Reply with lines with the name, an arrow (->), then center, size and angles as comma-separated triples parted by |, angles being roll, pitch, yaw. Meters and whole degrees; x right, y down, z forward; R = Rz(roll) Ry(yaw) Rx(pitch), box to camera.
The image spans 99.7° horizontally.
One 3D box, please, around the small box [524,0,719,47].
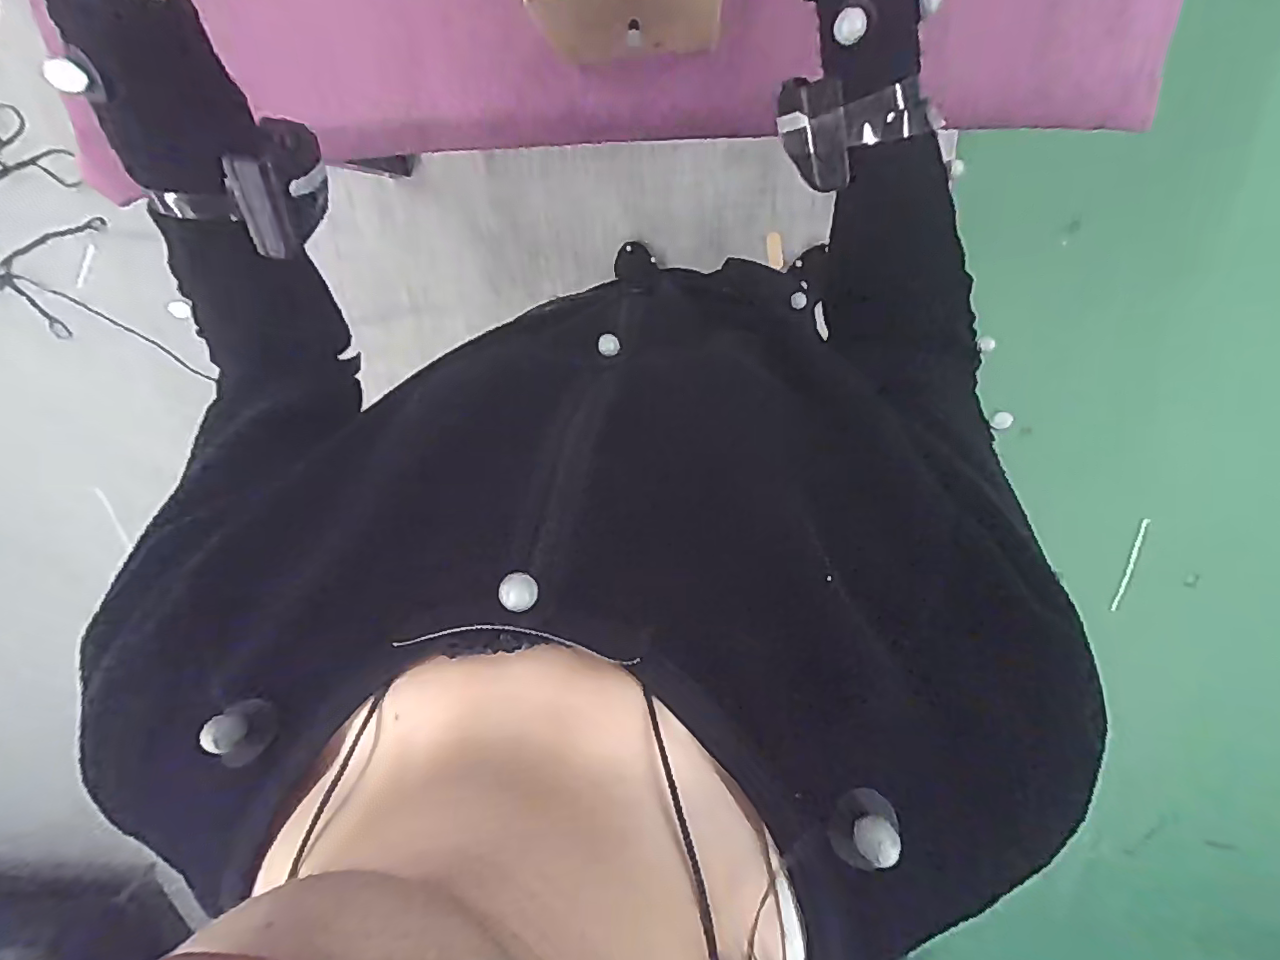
small box -> -0.014, -0.501, 0.462 | 0.168, 0.176, 0.179 | -2, 113, 6
